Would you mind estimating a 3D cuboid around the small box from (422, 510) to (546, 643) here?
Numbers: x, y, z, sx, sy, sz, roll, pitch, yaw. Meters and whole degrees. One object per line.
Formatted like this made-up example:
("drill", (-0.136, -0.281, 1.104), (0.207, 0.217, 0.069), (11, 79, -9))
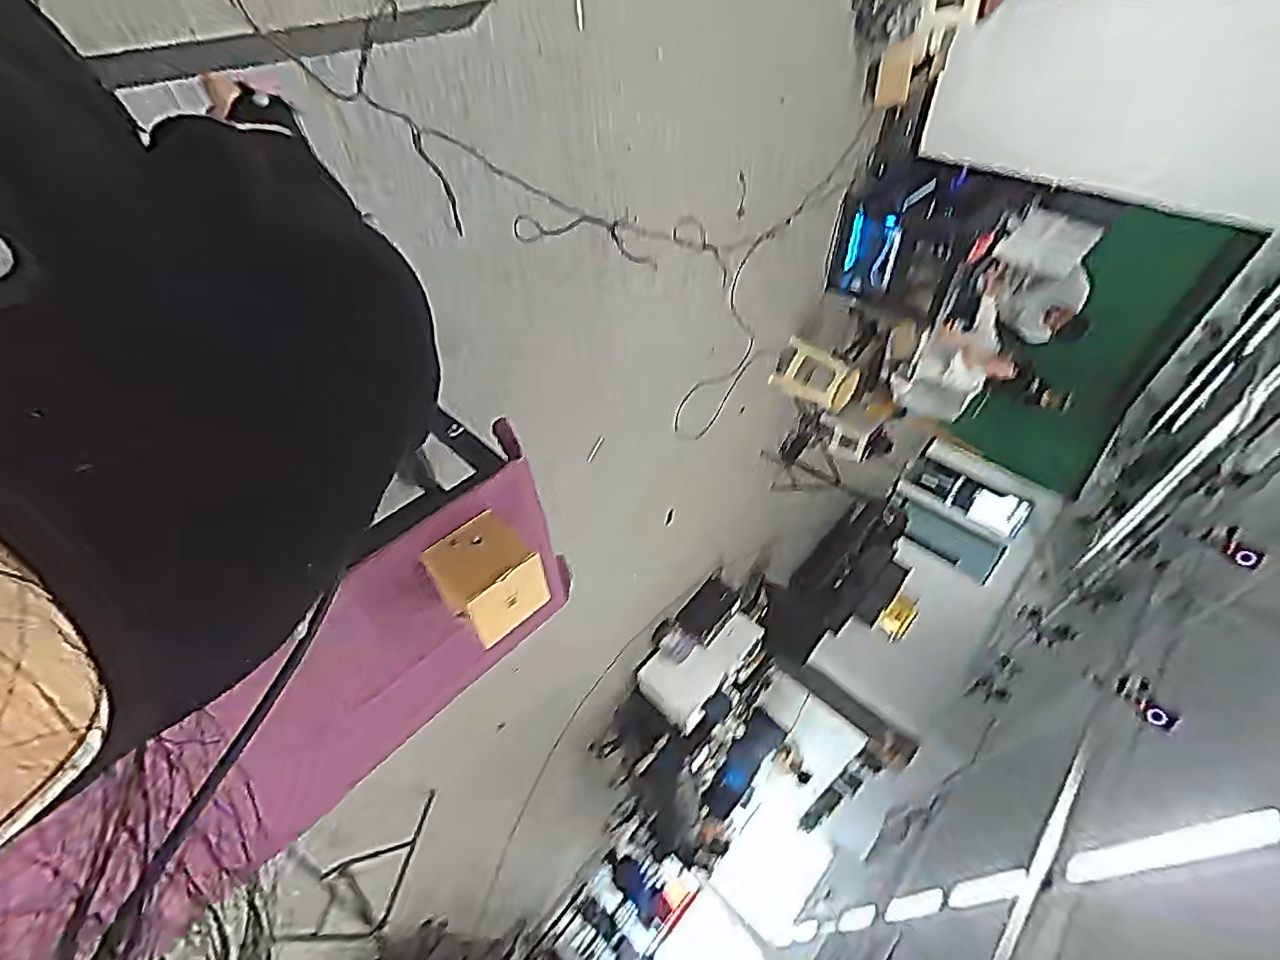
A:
("small box", (-0.320, 0.195, 1.126), (0.168, 0.176, 0.179), (-37, 145, -29))
